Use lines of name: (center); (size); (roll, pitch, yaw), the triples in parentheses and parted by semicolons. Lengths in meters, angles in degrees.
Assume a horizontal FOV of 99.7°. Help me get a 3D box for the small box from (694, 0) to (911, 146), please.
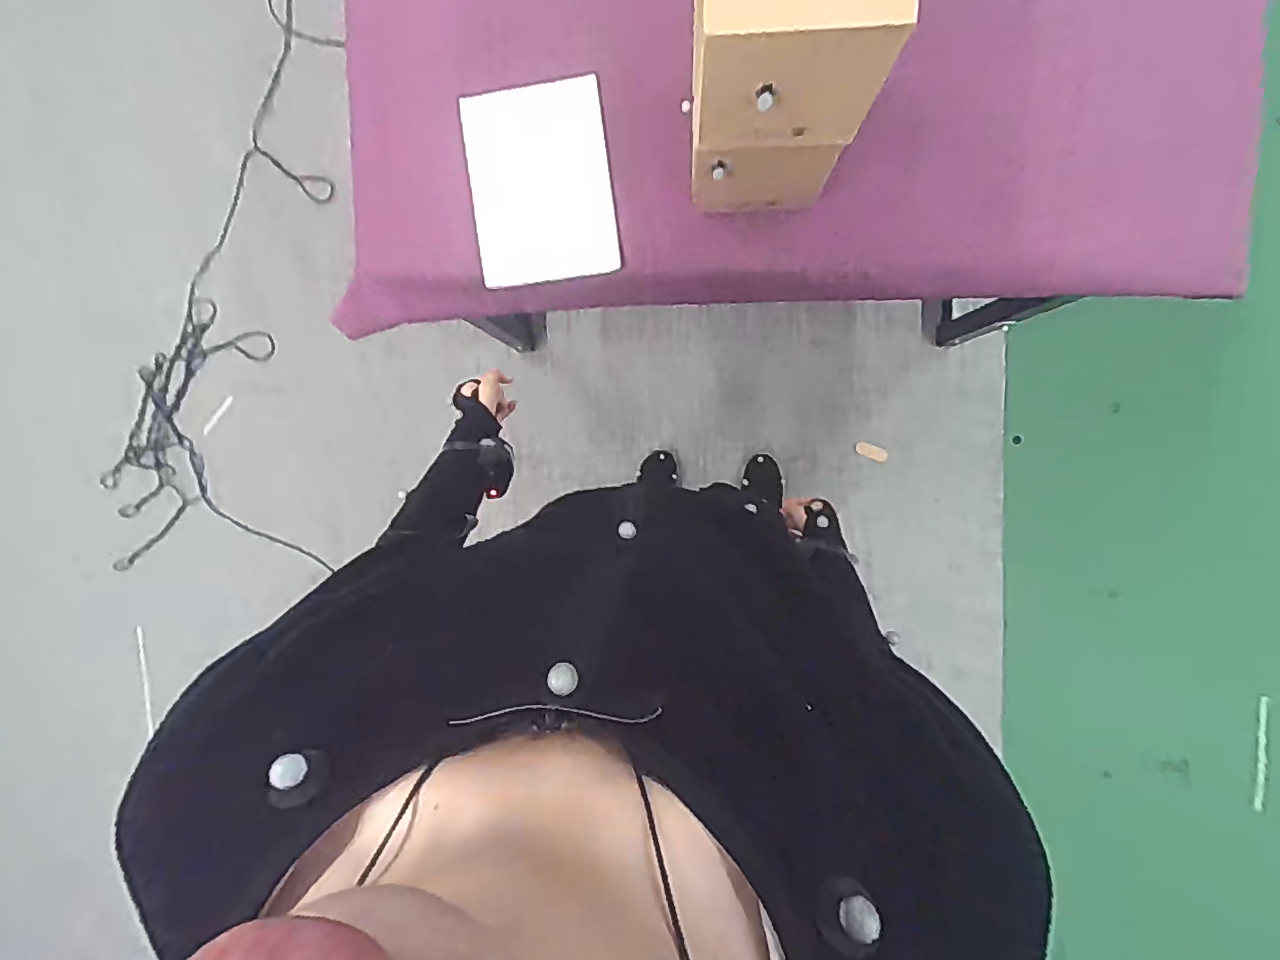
small box: (0.136, -0.438, 0.502); (0.168, 0.176, 0.179); (0, 91, 4)
